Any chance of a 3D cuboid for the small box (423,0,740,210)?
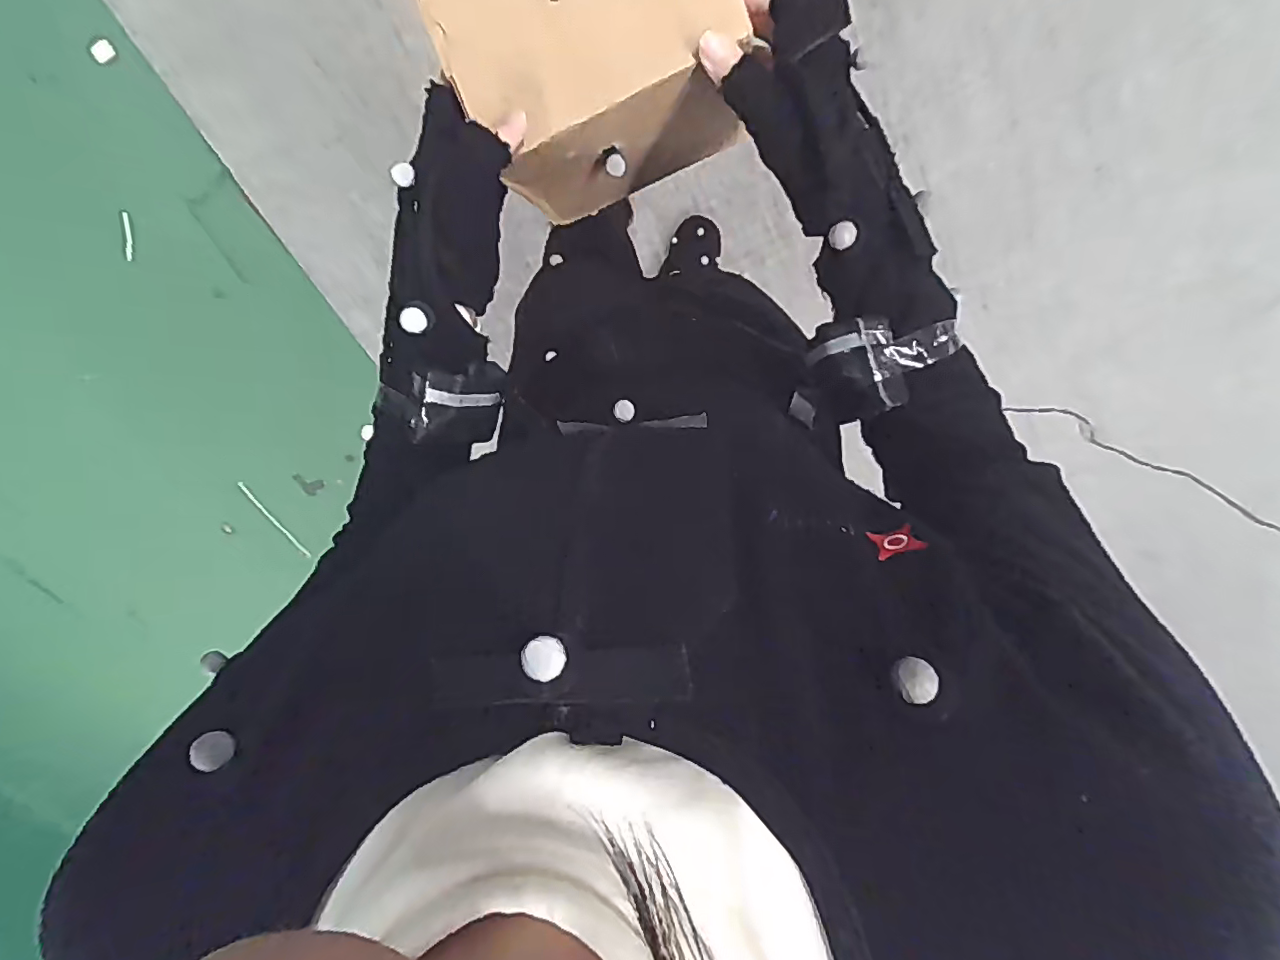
[{"bbox_3d":[-0.035,-0.328,0.391,0.179,0.176,0.168,-22,97,14],"label":"small box"}]
